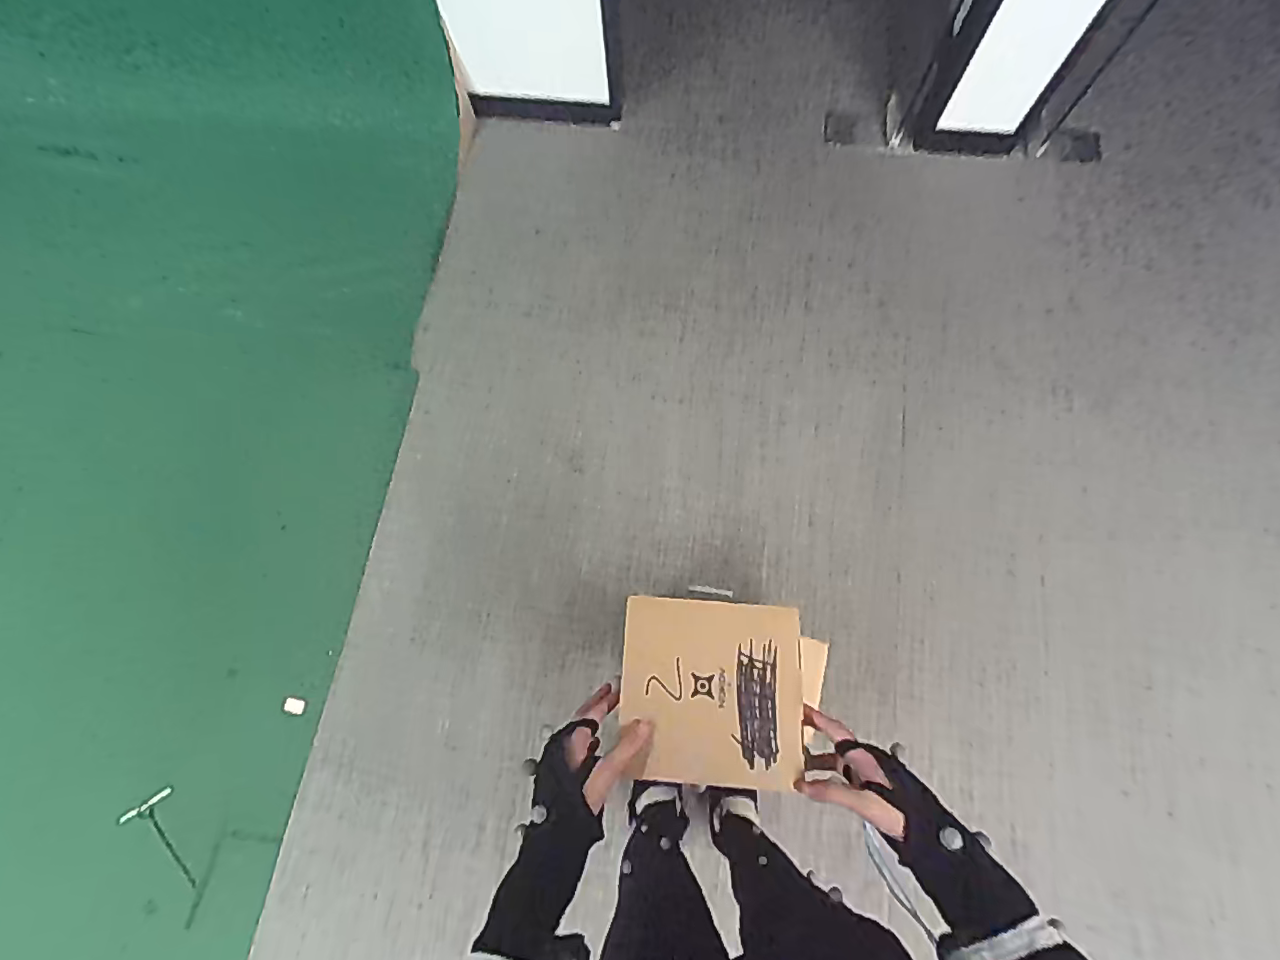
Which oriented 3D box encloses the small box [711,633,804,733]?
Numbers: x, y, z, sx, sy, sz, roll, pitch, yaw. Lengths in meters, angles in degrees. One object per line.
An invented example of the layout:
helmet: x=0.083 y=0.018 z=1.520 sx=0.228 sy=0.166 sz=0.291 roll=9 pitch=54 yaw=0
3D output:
small box: x=0.255 y=0.441 z=1.200 sx=0.168 sy=0.176 sz=0.179 roll=8 pitch=75 yaw=5
